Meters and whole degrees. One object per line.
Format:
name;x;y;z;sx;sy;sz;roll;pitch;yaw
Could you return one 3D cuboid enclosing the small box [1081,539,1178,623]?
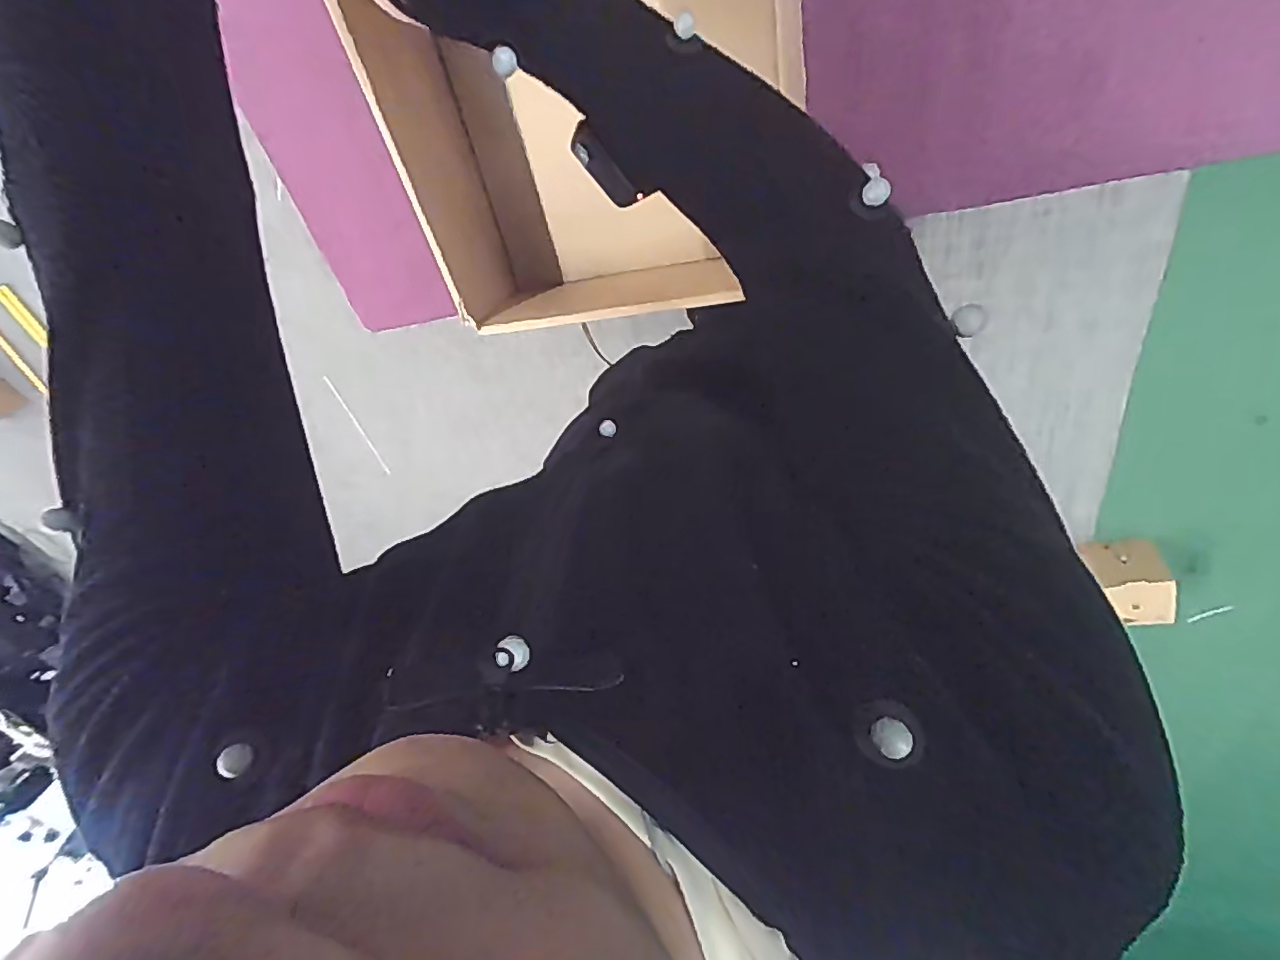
small box;1.404;0.286;1.561;0.168;0.176;0.179;-12;122;28
